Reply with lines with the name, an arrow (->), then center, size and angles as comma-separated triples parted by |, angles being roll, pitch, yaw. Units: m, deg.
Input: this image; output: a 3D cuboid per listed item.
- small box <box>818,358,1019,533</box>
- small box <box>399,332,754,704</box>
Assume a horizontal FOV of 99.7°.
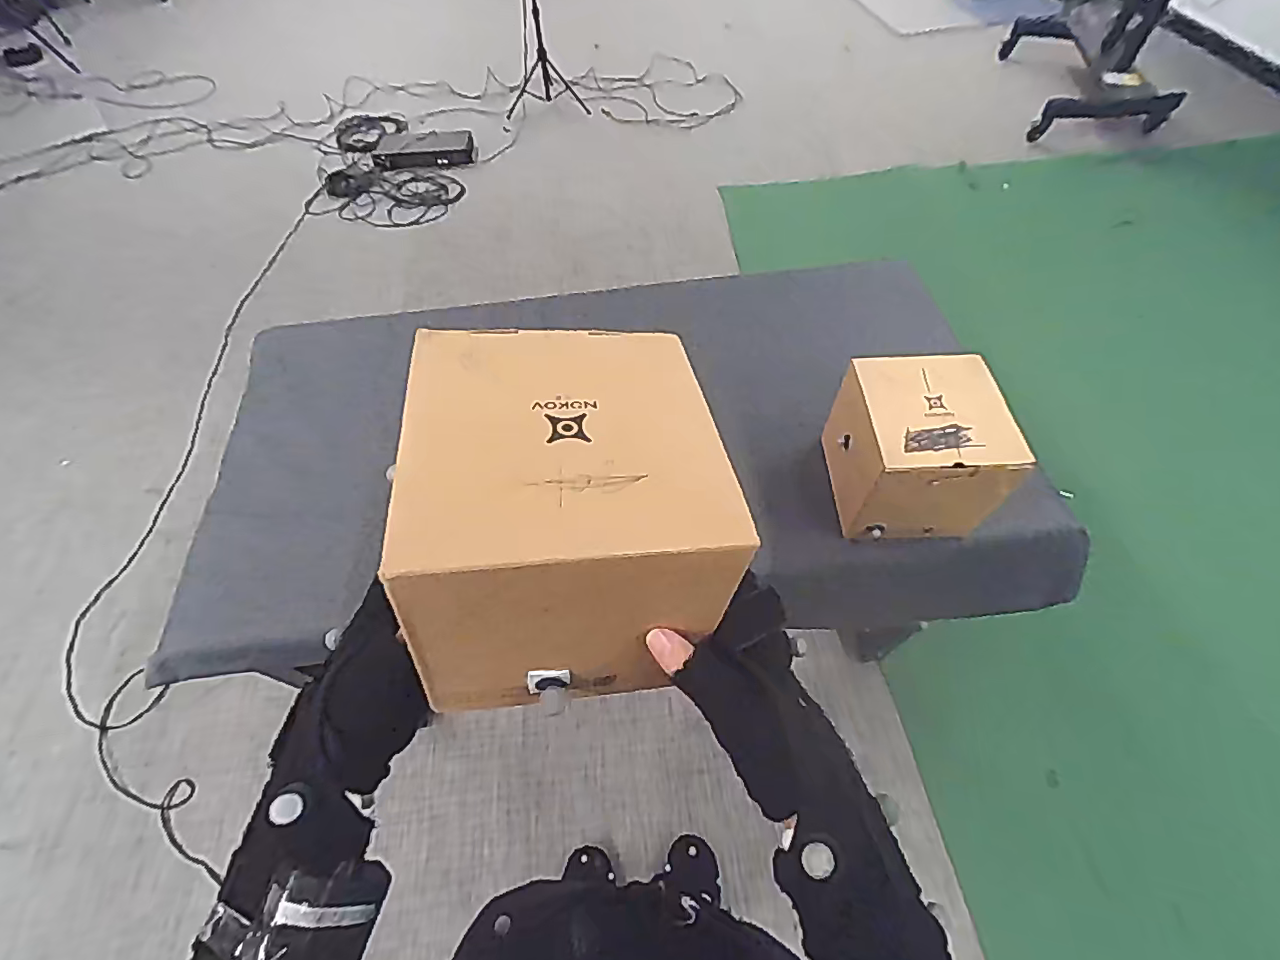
small box -> 0.349, -0.039, 0.720 | 0.168, 0.176, 0.179 | -1, 56, 2
small box -> -0.049, 0.023, 0.358 | 0.168, 0.176, 0.179 | -4, 50, -13
